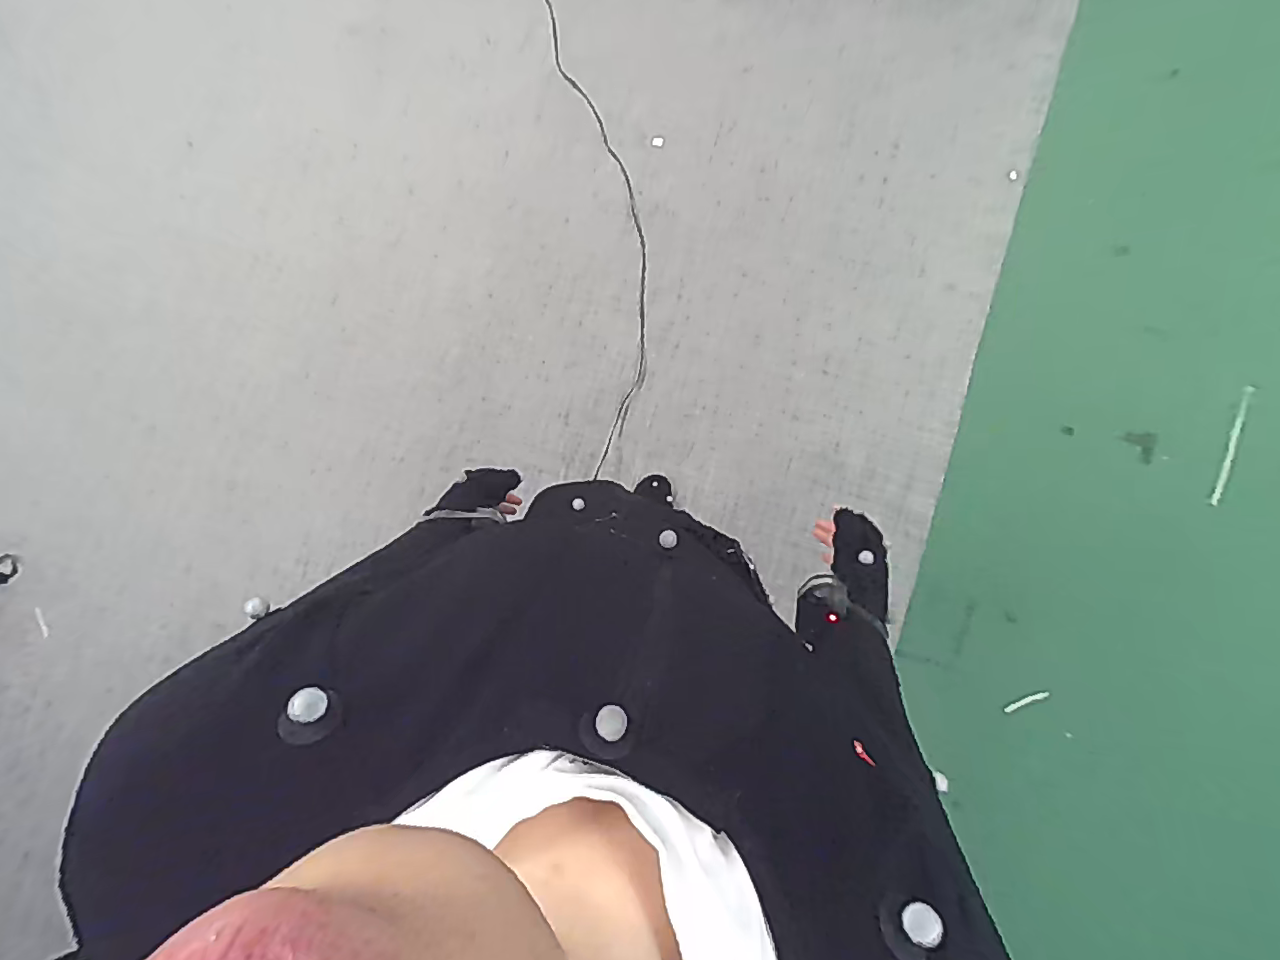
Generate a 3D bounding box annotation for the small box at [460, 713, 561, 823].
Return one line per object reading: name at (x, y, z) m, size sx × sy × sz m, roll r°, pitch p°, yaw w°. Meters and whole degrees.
small box at (-0.321, 0.719, 1.374) m, size 0.179 × 0.176 × 0.168 m, roll 19°, pitch 89°, yaw 4°
